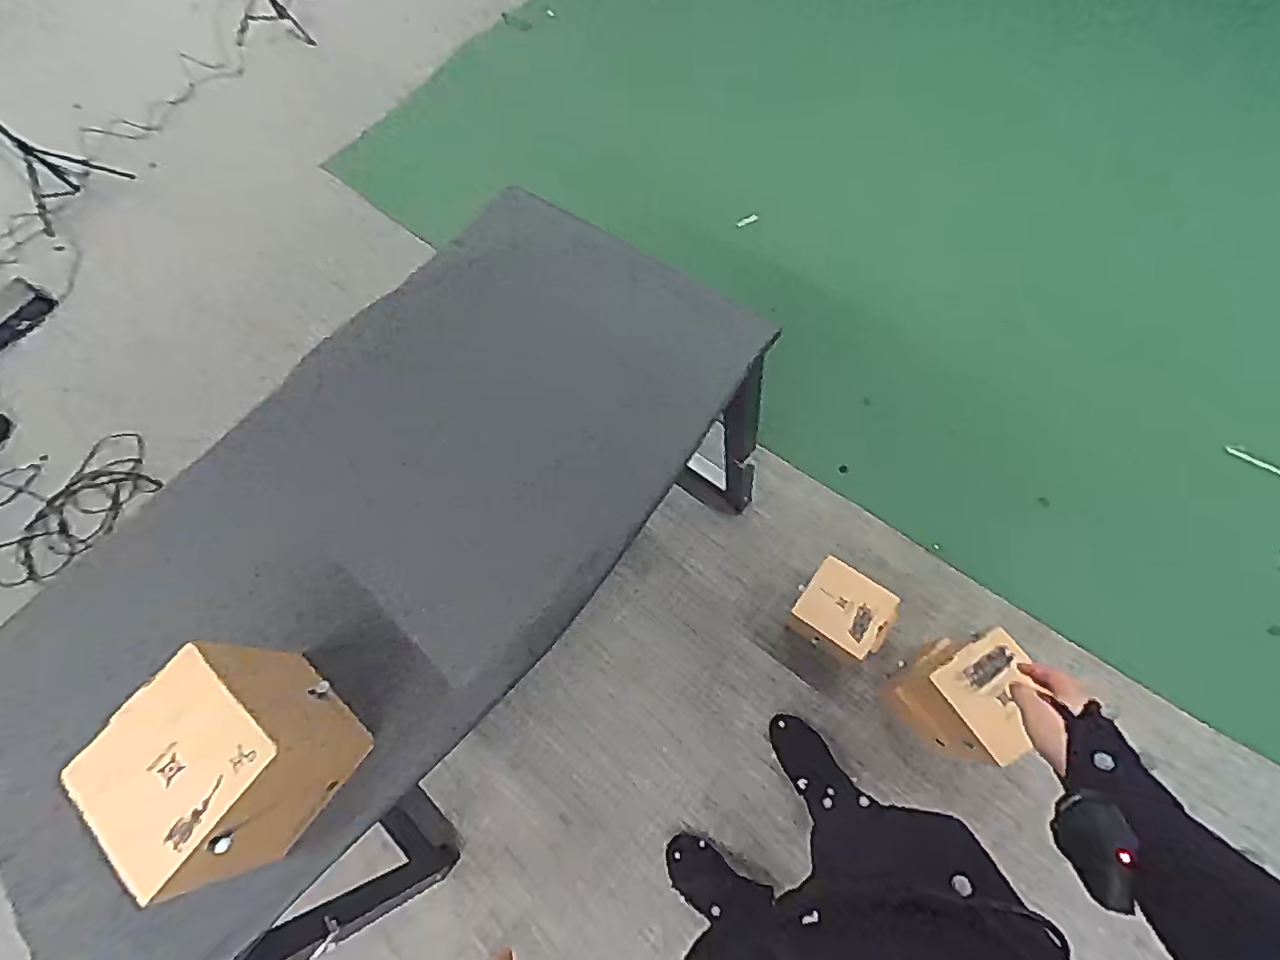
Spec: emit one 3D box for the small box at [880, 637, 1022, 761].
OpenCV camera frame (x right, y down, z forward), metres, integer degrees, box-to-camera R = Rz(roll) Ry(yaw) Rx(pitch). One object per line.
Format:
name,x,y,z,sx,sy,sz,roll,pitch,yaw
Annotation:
small box,0.652,0.462,1.158,0.168,0.176,0.179,-41,68,-8

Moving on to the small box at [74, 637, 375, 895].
small box,-0.451,0.307,0.612,0.179,0.176,0.168,34,77,20

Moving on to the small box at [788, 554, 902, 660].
small box,0.466,0.301,1.256,0.179,0.176,0.168,34,77,21
